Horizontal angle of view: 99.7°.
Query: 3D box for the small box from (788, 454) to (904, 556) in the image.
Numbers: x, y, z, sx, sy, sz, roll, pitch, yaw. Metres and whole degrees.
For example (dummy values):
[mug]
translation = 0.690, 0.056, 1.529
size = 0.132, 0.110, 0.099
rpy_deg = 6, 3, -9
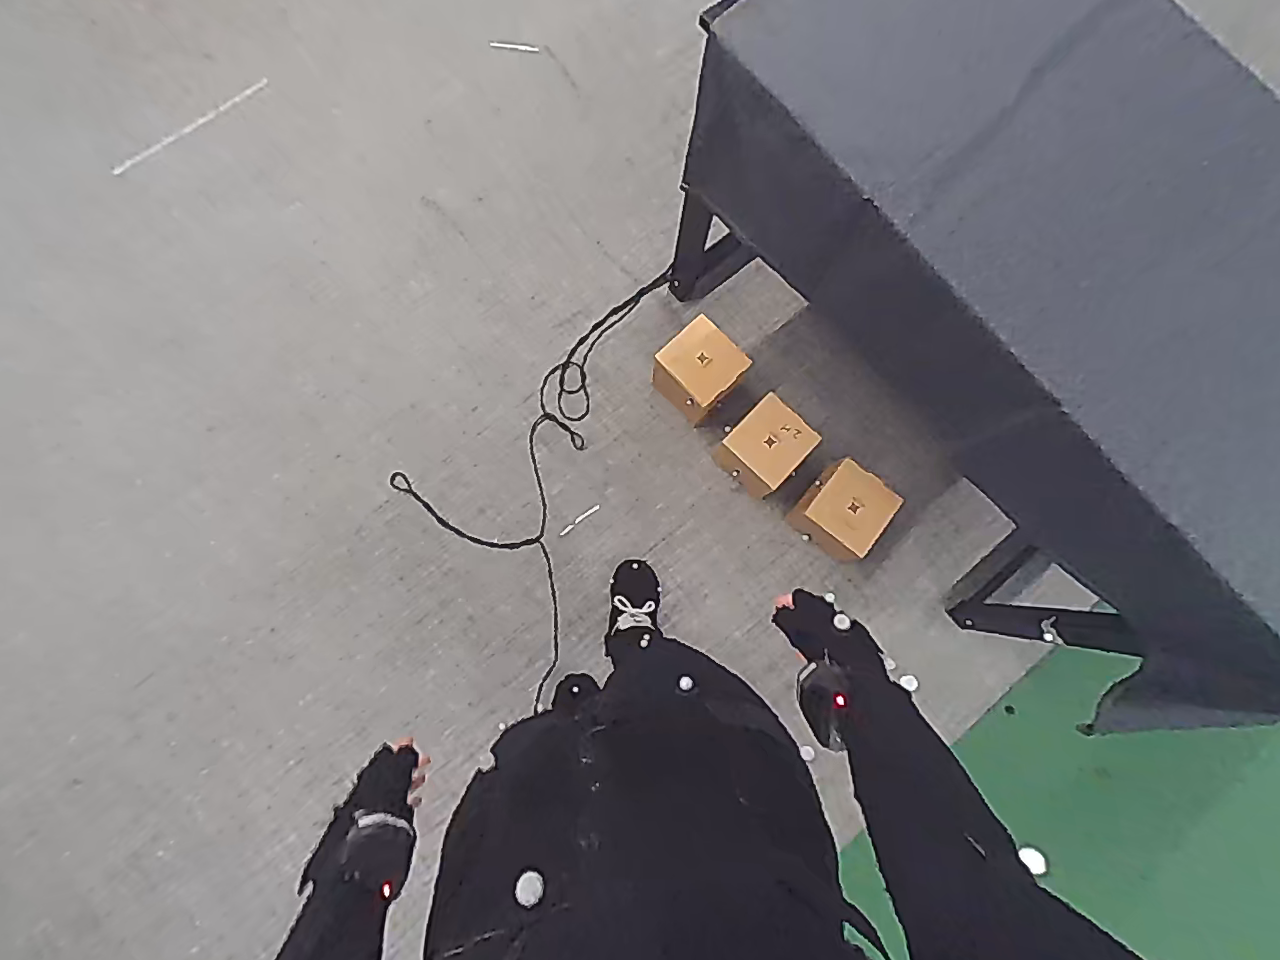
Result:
[small box]
translation = 0.486, 0.066, 1.307
size = 0.168, 0.176, 0.179
rpy_deg = 39, 81, 4
